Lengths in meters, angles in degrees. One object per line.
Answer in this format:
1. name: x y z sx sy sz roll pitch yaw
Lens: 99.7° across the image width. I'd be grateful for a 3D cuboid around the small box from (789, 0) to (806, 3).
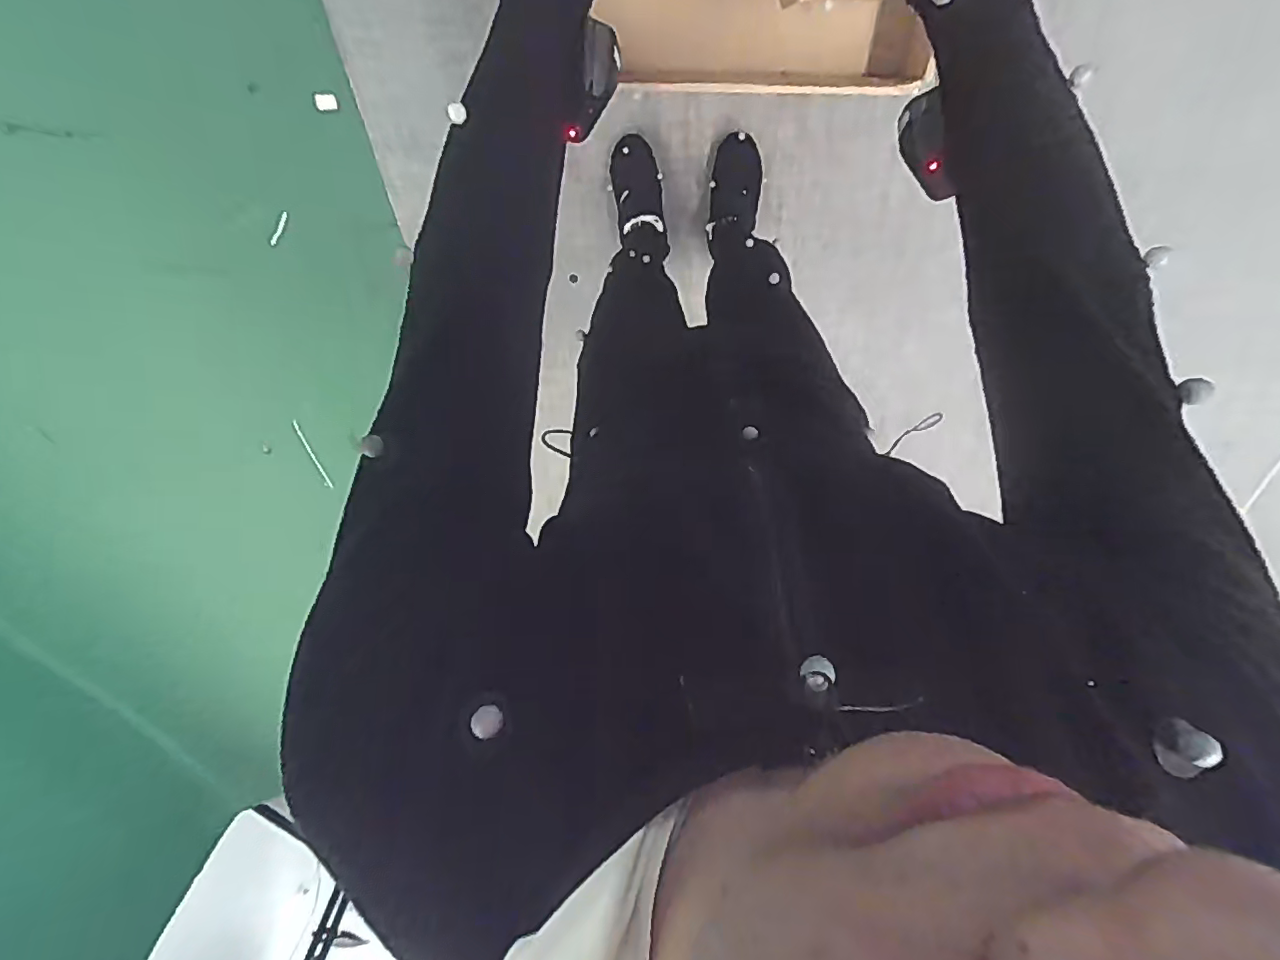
1. small box: 0.233 -0.661 0.592 0.168 0.176 0.179 -11 126 15
